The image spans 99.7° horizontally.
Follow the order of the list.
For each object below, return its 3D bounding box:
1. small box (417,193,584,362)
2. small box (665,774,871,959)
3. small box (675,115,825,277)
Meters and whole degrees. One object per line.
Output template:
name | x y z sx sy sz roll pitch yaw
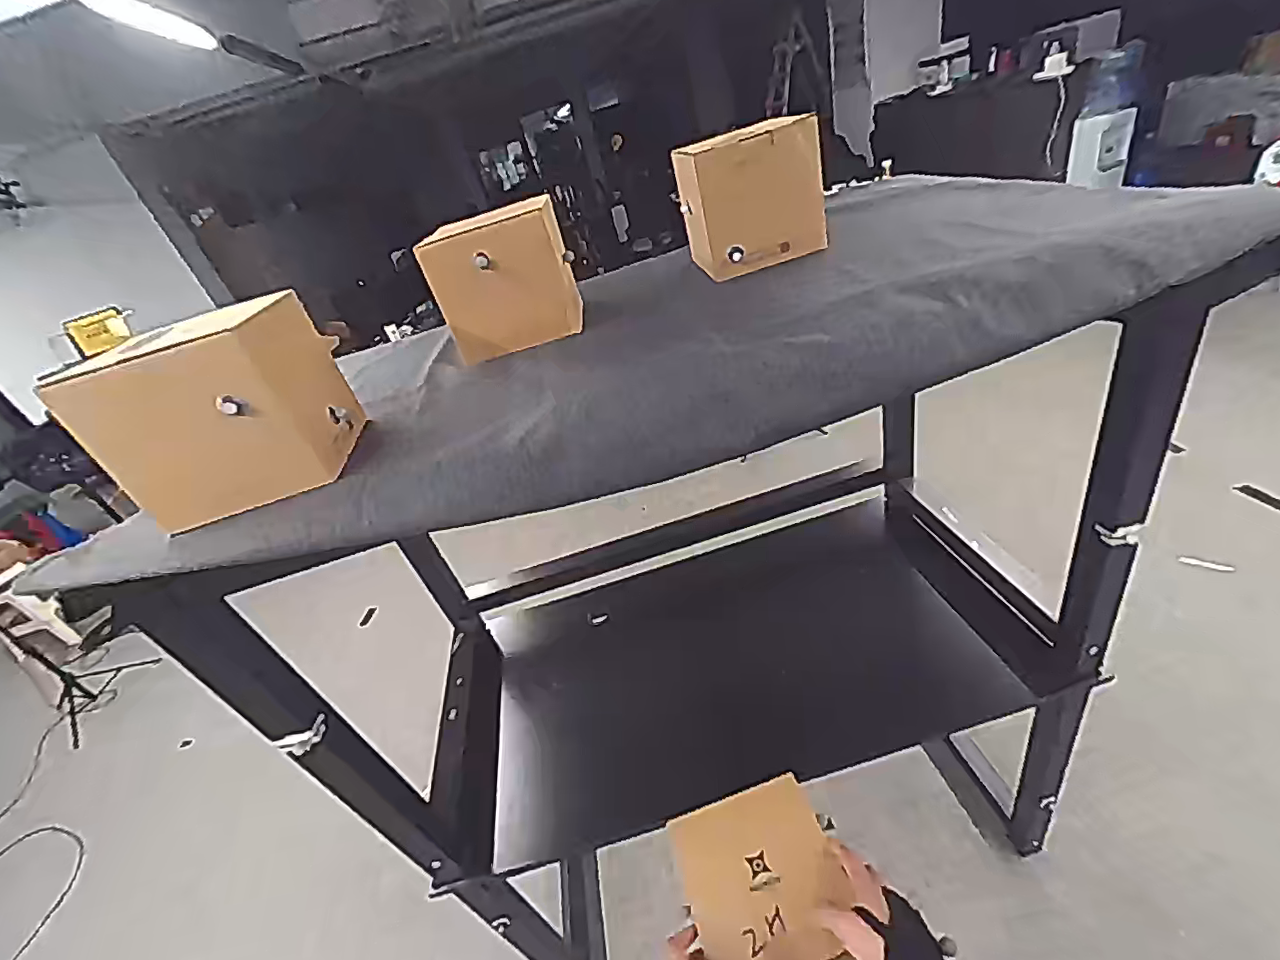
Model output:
small box | -0.186 -0.294 0.785 0.179 0.176 0.168 -15 33 5
small box | 0.140 0.488 0.620 0.168 0.176 0.179 -18 32 -5
small box | 0.161 -0.415 0.799 0.168 0.176 0.179 -16 32 2
